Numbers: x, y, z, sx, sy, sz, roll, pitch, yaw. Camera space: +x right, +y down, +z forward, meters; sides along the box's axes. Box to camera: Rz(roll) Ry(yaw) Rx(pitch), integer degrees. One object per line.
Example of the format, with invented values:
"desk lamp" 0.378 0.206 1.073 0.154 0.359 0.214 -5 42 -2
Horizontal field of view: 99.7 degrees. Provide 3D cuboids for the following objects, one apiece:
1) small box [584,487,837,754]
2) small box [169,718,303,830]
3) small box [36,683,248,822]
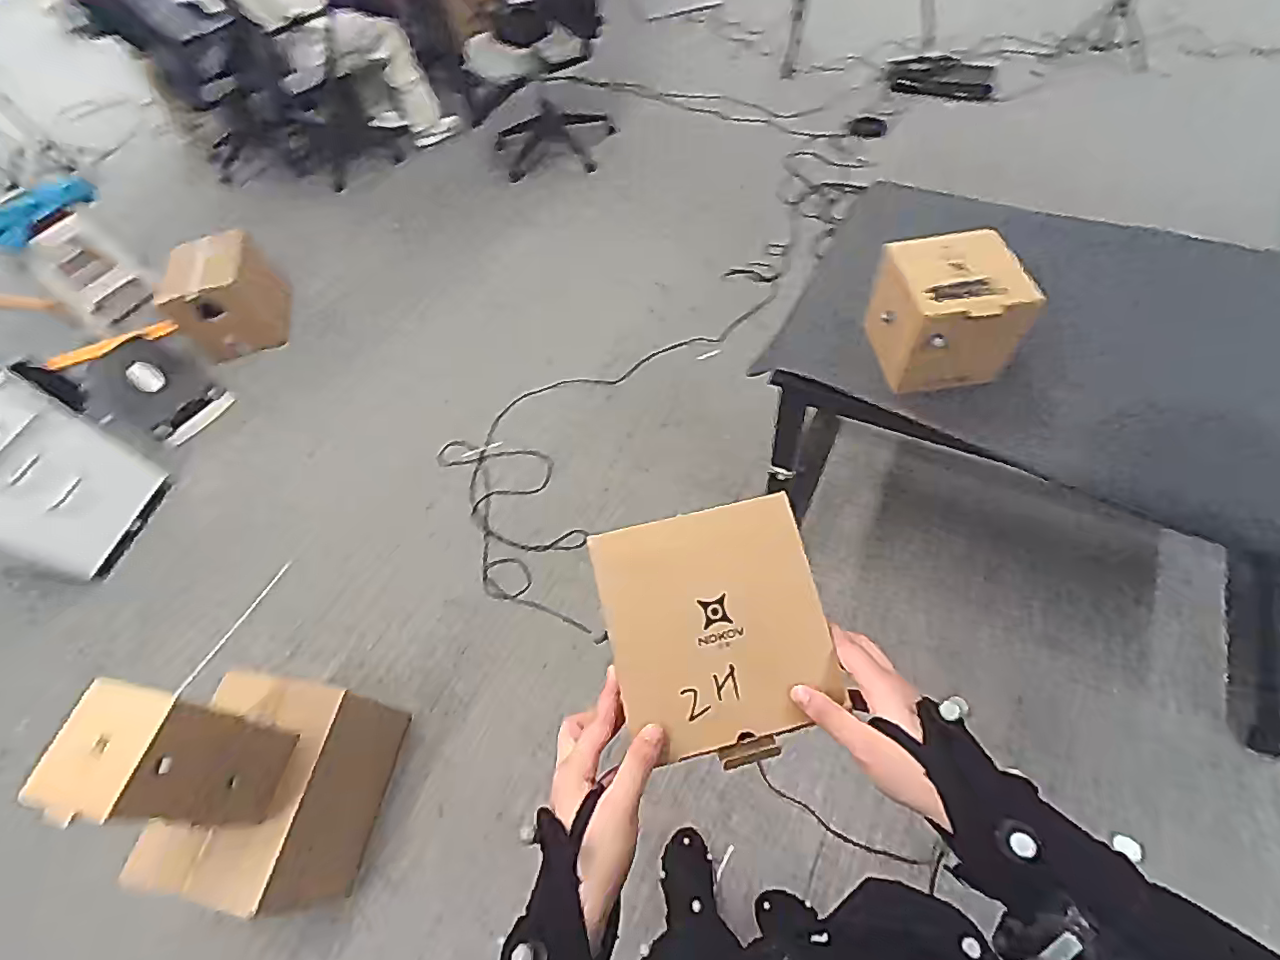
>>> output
"small box" 0.050 0.123 0.496 0.168 0.176 0.179 -13 76 -3
"small box" -0.806 0.562 1.053 0.168 0.176 0.179 5 59 11
"small box" -0.823 0.466 0.922 0.168 0.176 0.179 6 60 10
